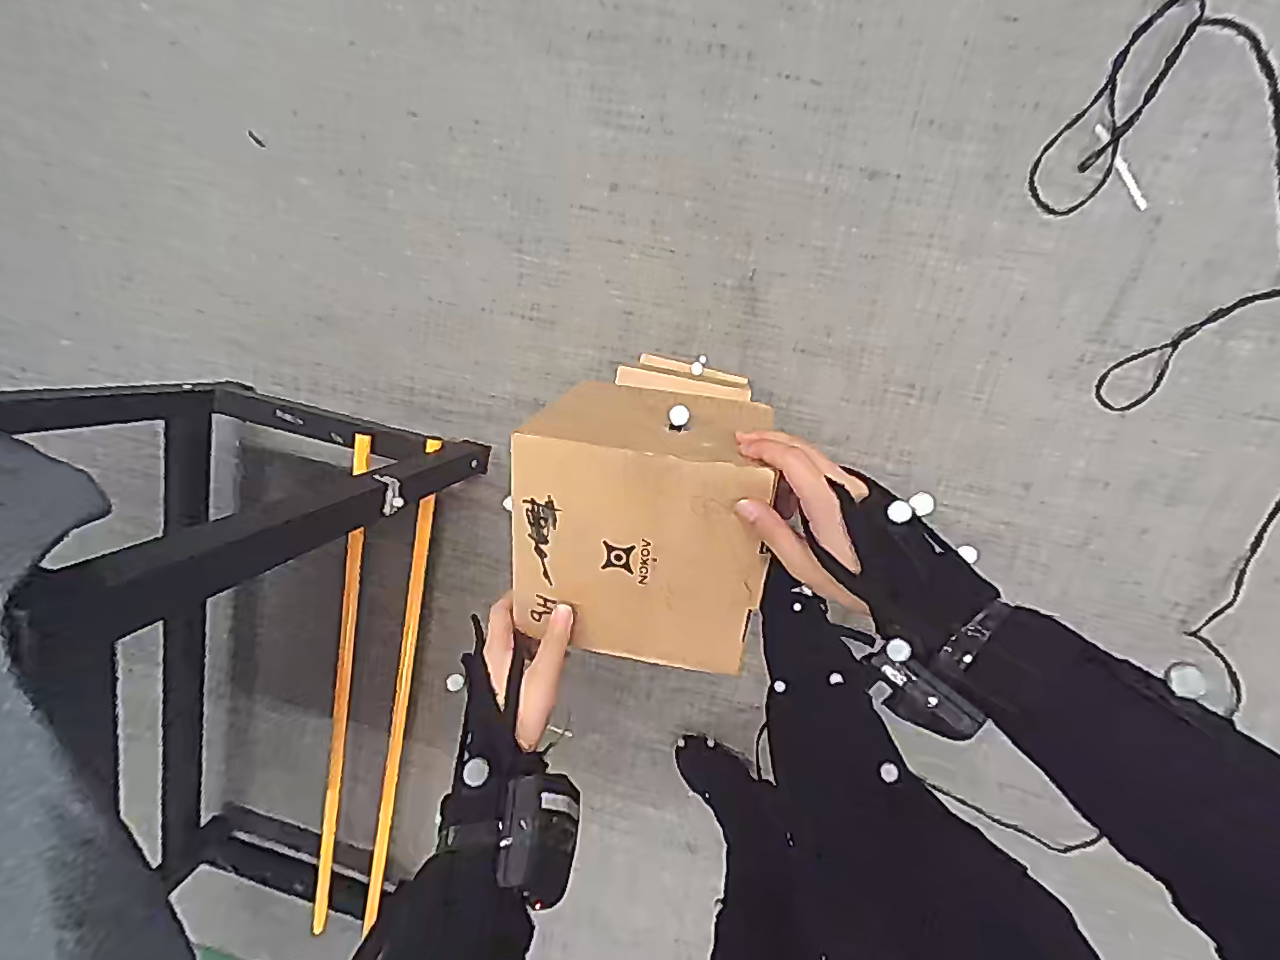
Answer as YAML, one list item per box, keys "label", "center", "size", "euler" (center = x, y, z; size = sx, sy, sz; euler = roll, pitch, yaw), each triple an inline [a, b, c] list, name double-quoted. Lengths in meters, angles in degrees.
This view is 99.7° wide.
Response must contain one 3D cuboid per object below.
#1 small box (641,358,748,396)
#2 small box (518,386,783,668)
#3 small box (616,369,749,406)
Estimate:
- label: "small box"
  center: [0.074, -0.098, 0.900]
  size: [0.168, 0.176, 0.179]
  euler: [15, 104, 6]
- label: "small box"
  center: [0.010, 0.024, 0.453]
  size: [0.179, 0.176, 0.168]
  euler: [9, 112, 7]
- label: "small box"
  center: [0.049, -0.051, 0.744]
  size: [0.168, 0.176, 0.179]
  euler: [13, 103, 6]
